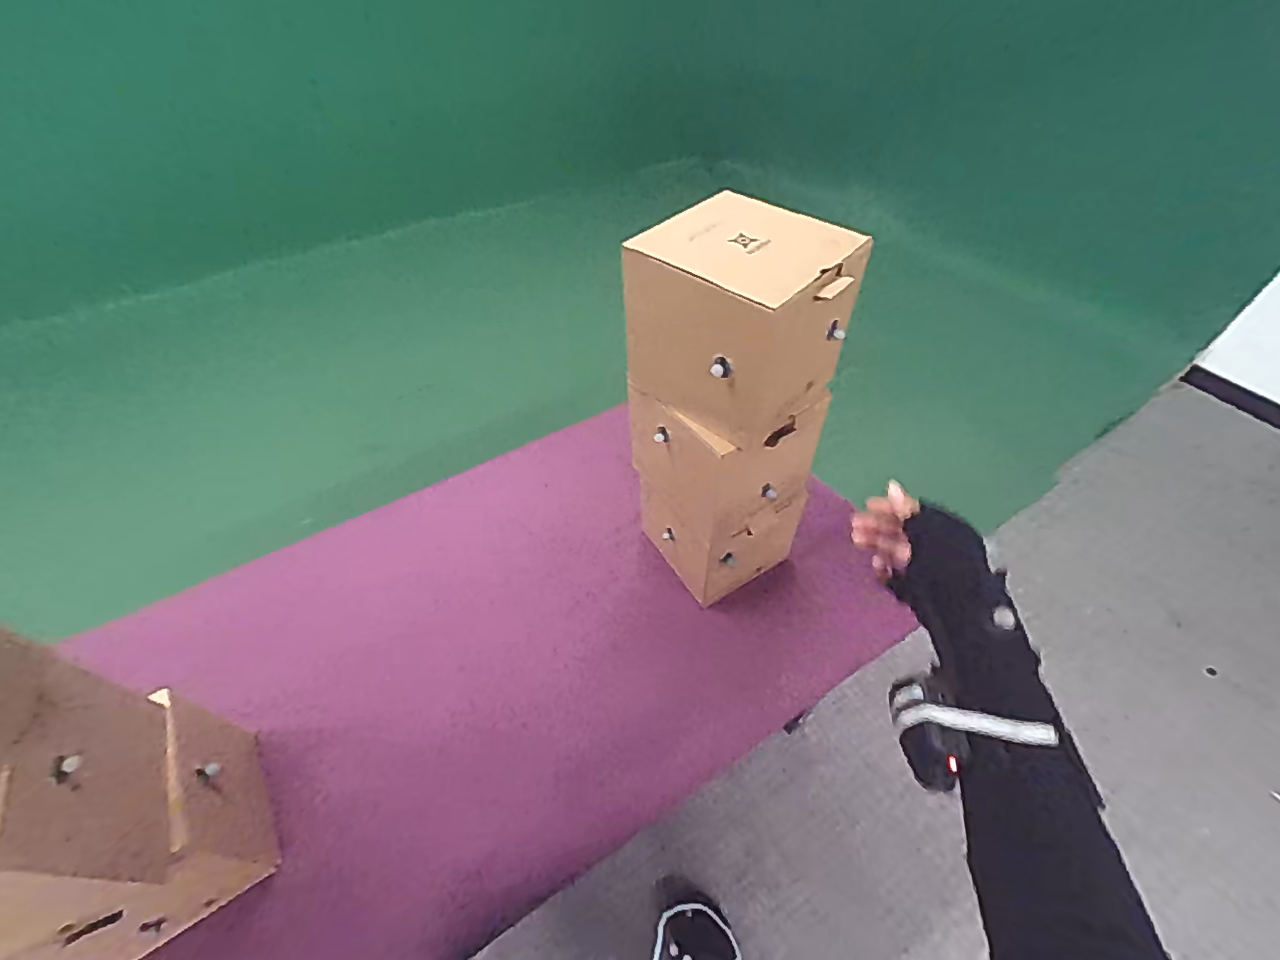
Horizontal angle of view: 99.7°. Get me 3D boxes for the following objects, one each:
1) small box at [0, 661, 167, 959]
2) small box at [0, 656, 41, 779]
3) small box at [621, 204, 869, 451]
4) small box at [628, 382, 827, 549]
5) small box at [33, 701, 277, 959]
[{"bbox_3d":[-0.522,0.284,0.430,0.168,0.176,0.179,-24,54,-19],"label":"small box"},{"bbox_3d":[-0.523,0.177,0.305,0.168,0.176,0.179,-9,52,-9],"label":"small box"},{"bbox_3d":[0.100,-0.155,0.568,0.179,0.176,0.168,35,58,28],"label":"small box"},{"bbox_3d":[0.100,-0.046,0.690,0.168,0.176,0.179,-30,55,-21],"label":"small box"},{"bbox_3d":[-0.522,0.375,0.567,0.168,0.176,0.179,-28,56,-21],"label":"small box"}]
